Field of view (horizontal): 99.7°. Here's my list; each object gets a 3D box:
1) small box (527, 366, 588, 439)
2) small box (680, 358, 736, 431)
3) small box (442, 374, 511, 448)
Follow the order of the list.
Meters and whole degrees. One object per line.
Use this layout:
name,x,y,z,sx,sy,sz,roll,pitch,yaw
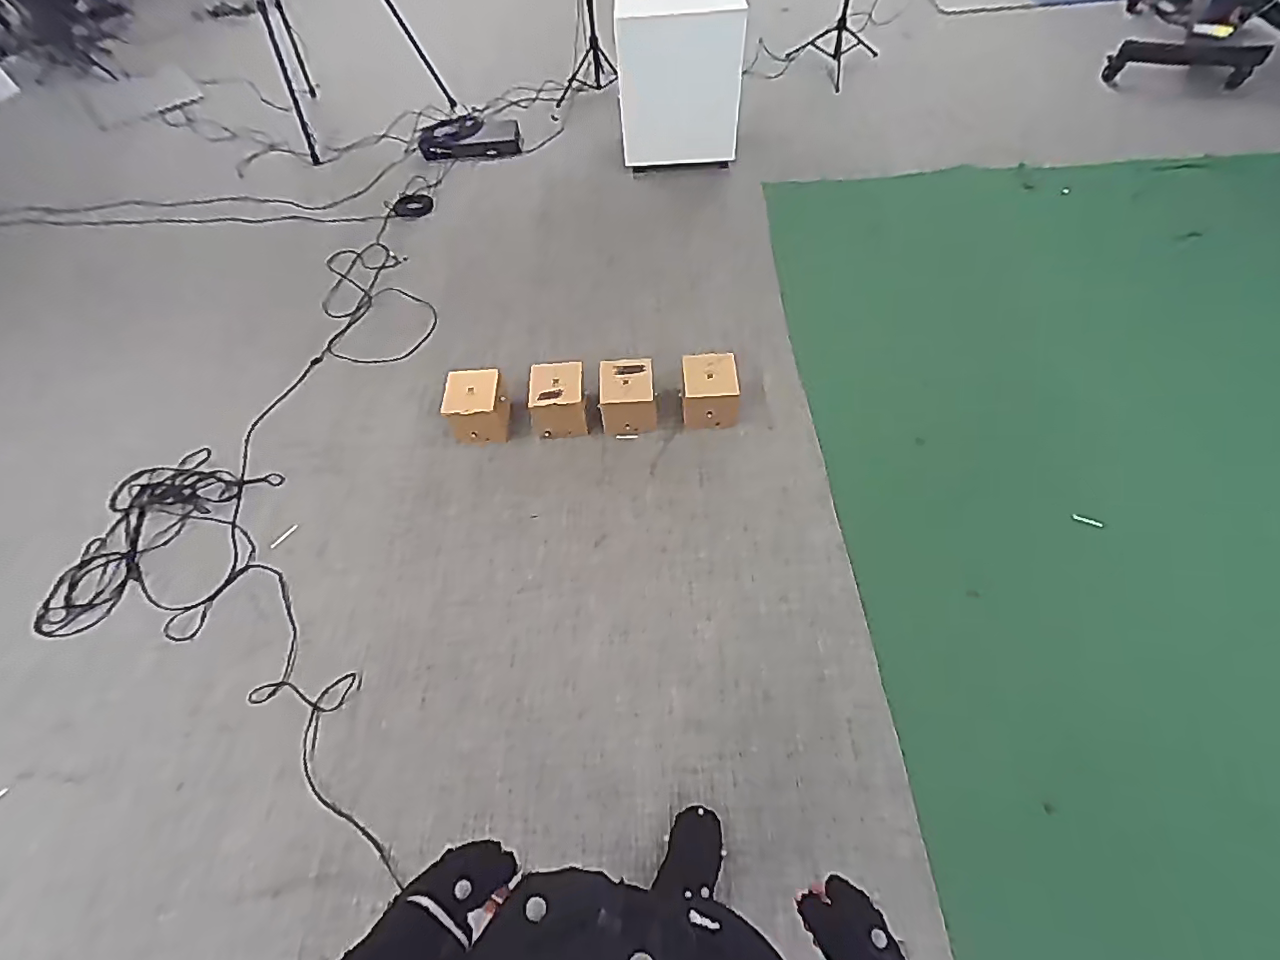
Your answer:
small box,-0.264,-0.248,1.774,0.168,0.176,0.179,-4,57,2
small box,0.216,-0.272,1.761,0.168,0.176,0.179,-2,58,1
small box,-0.530,-0.226,1.780,0.168,0.176,0.179,-4,58,2
